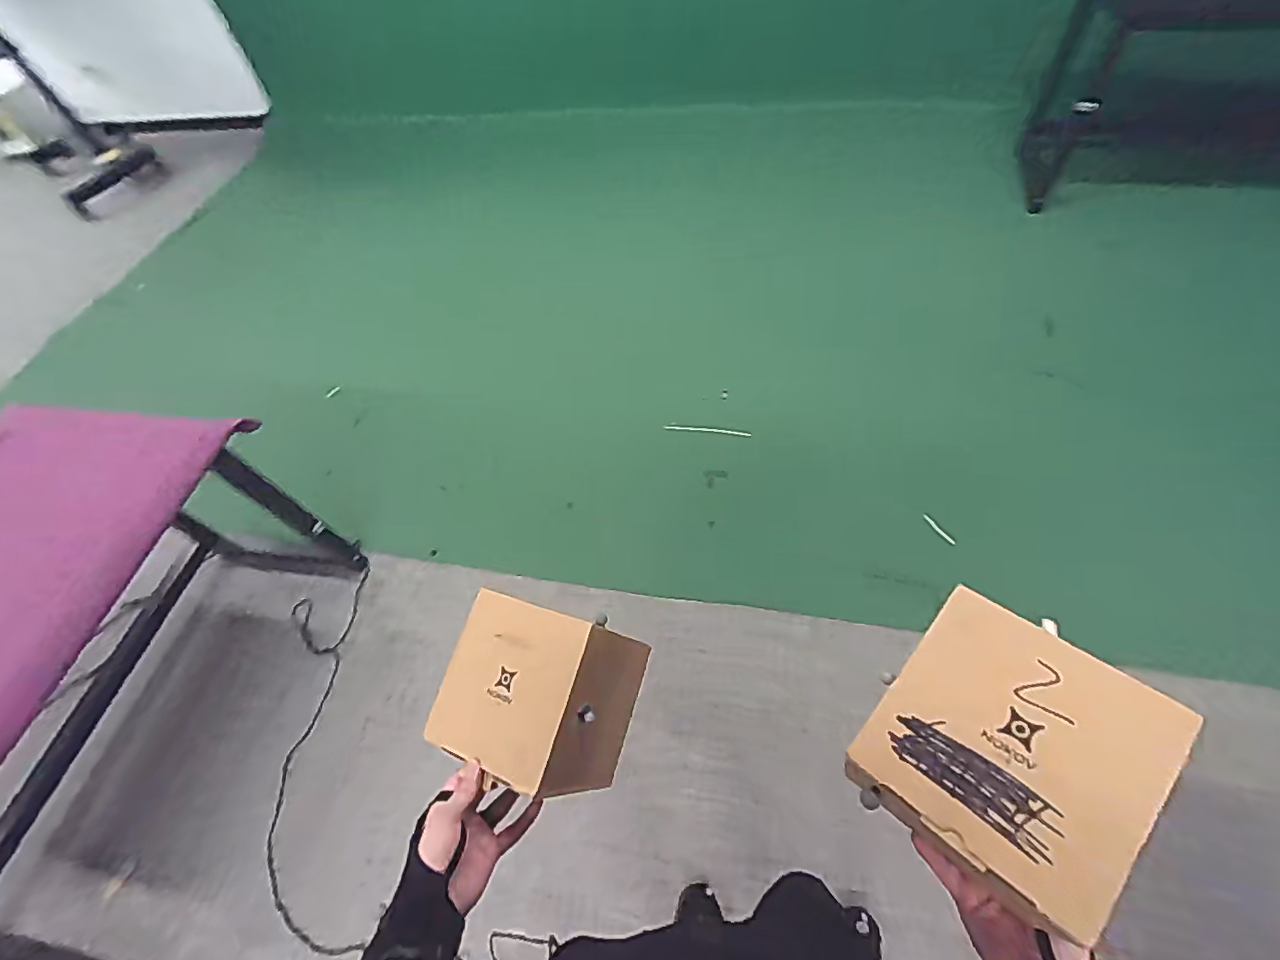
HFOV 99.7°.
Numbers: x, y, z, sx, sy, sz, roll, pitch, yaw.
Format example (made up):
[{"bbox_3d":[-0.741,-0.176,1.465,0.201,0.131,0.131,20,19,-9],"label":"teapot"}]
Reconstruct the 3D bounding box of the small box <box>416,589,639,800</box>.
[{"bbox_3d":[-0.120,0.250,0.646,0.168,0.176,0.179,9,71,29],"label":"small box"}]
